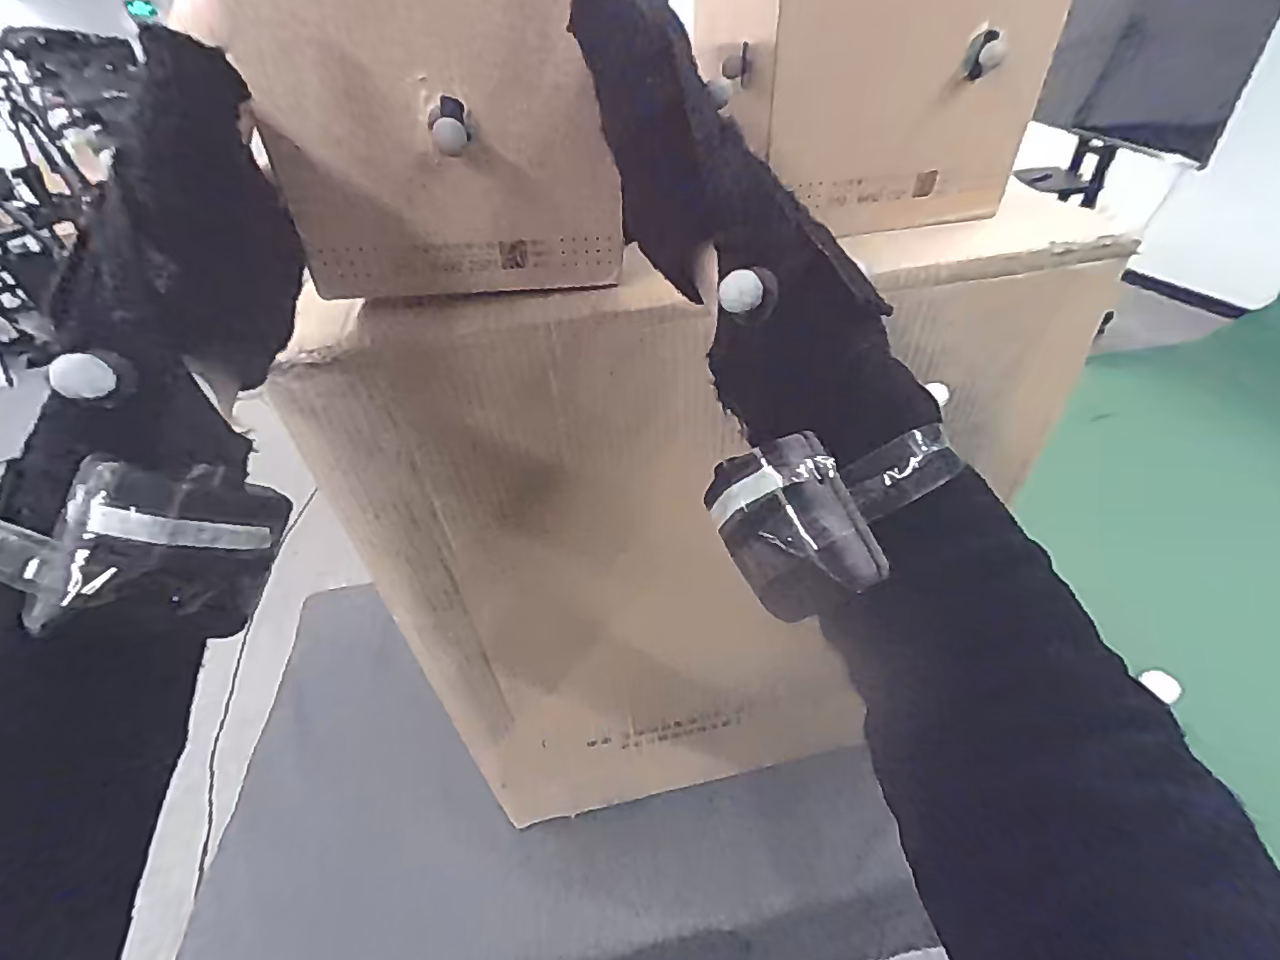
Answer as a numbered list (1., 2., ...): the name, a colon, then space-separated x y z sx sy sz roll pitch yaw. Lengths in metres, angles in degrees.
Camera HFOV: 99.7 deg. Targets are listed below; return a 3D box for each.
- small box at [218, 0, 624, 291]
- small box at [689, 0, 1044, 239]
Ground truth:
1. small box: -0.102 -0.219 0.315 0.168 0.176 0.179 -7 40 -9
2. small box: 0.134 -0.271 0.368 0.168 0.176 0.179 -8 39 -8
